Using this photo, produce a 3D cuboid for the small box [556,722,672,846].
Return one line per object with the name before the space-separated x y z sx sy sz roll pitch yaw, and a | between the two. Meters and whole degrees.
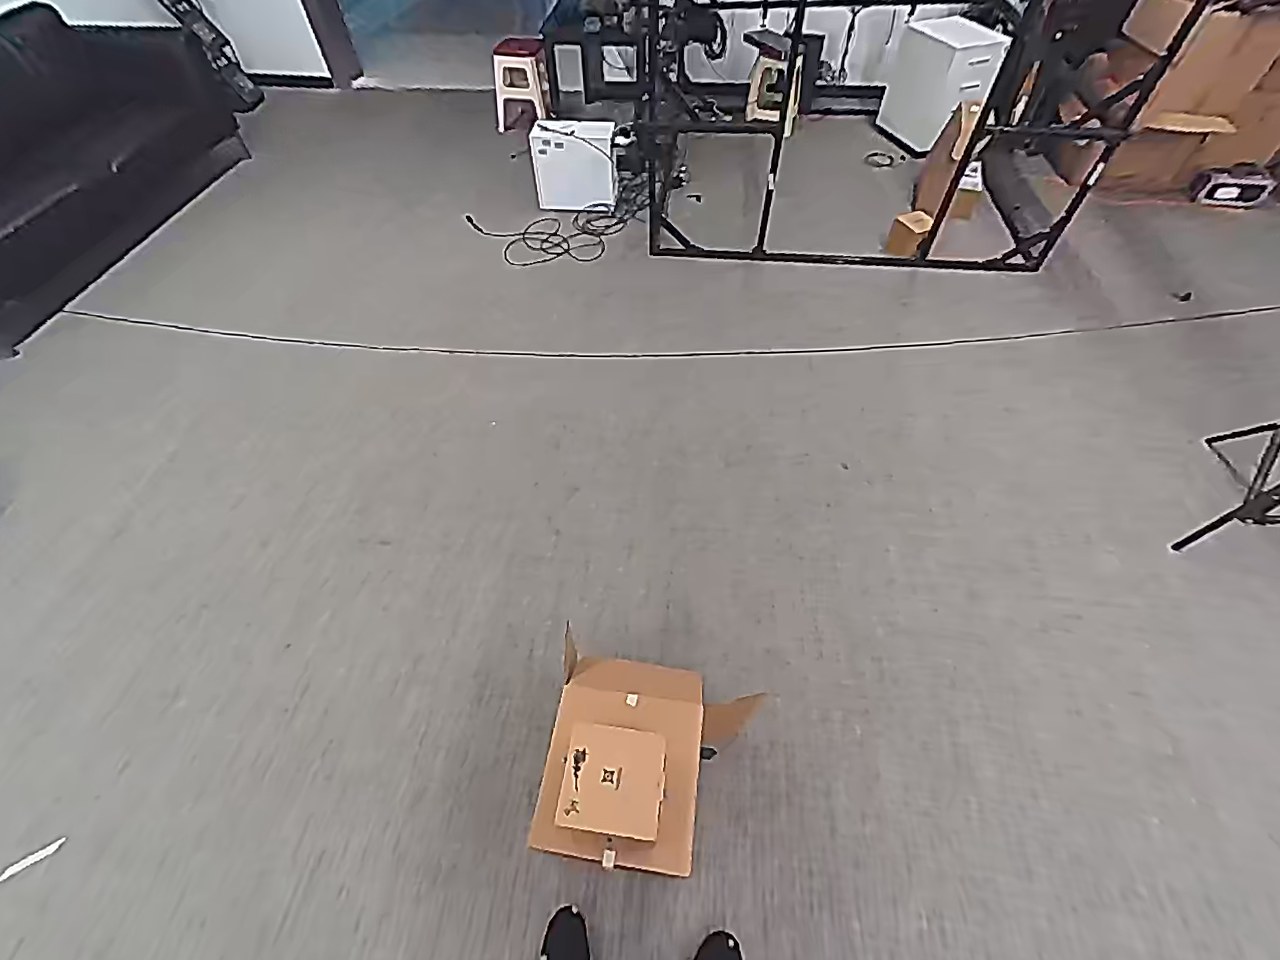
small box | -0.041 0.562 0.995 0.179 0.176 0.168 7 54 6
